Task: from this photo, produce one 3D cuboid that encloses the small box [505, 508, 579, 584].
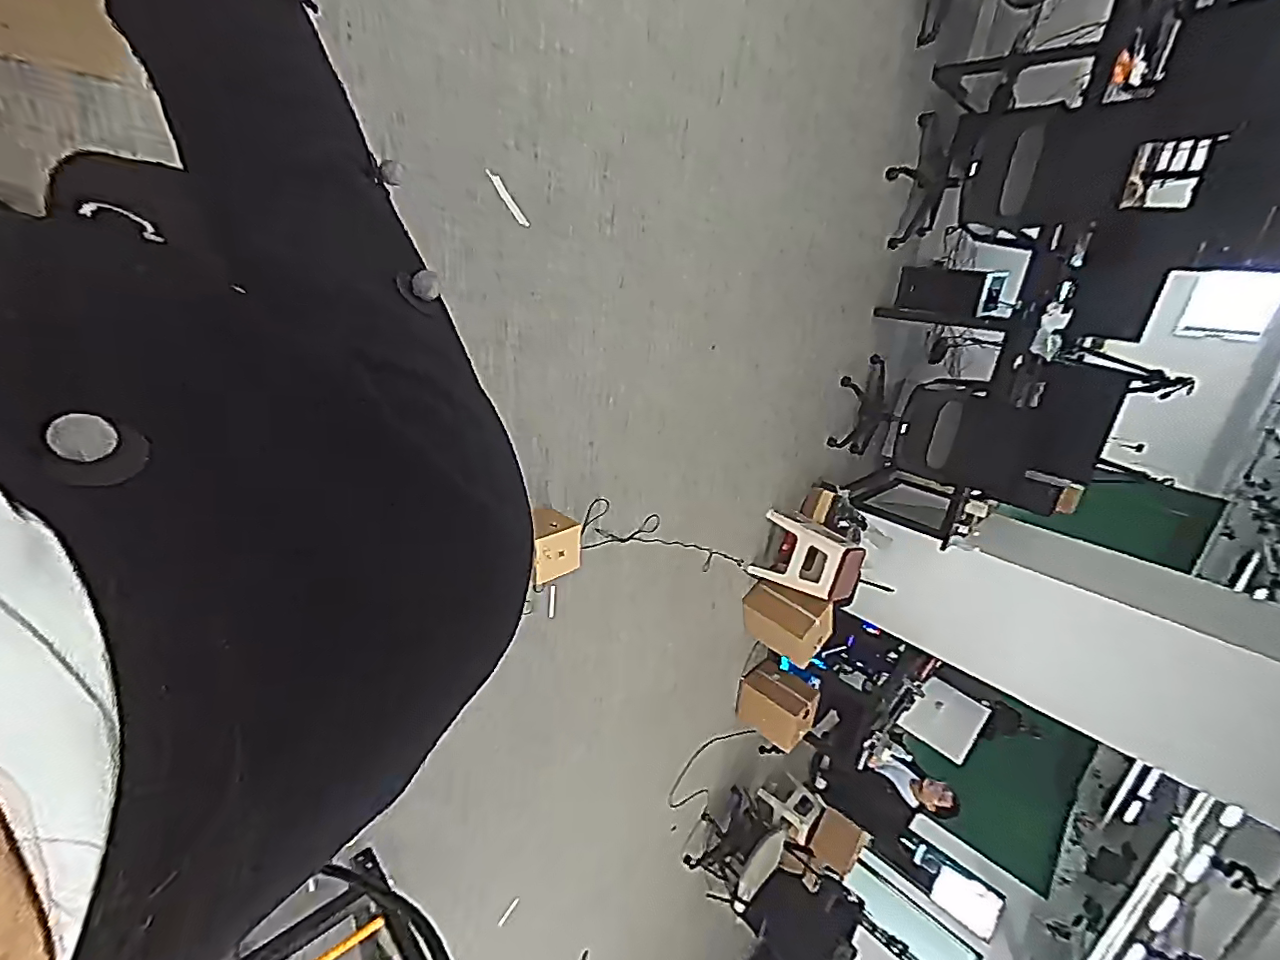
[{"bbox_3d":[-0.321,0.208,1.763,0.179,0.176,0.168,-17,120,-42],"label":"small box"}]
